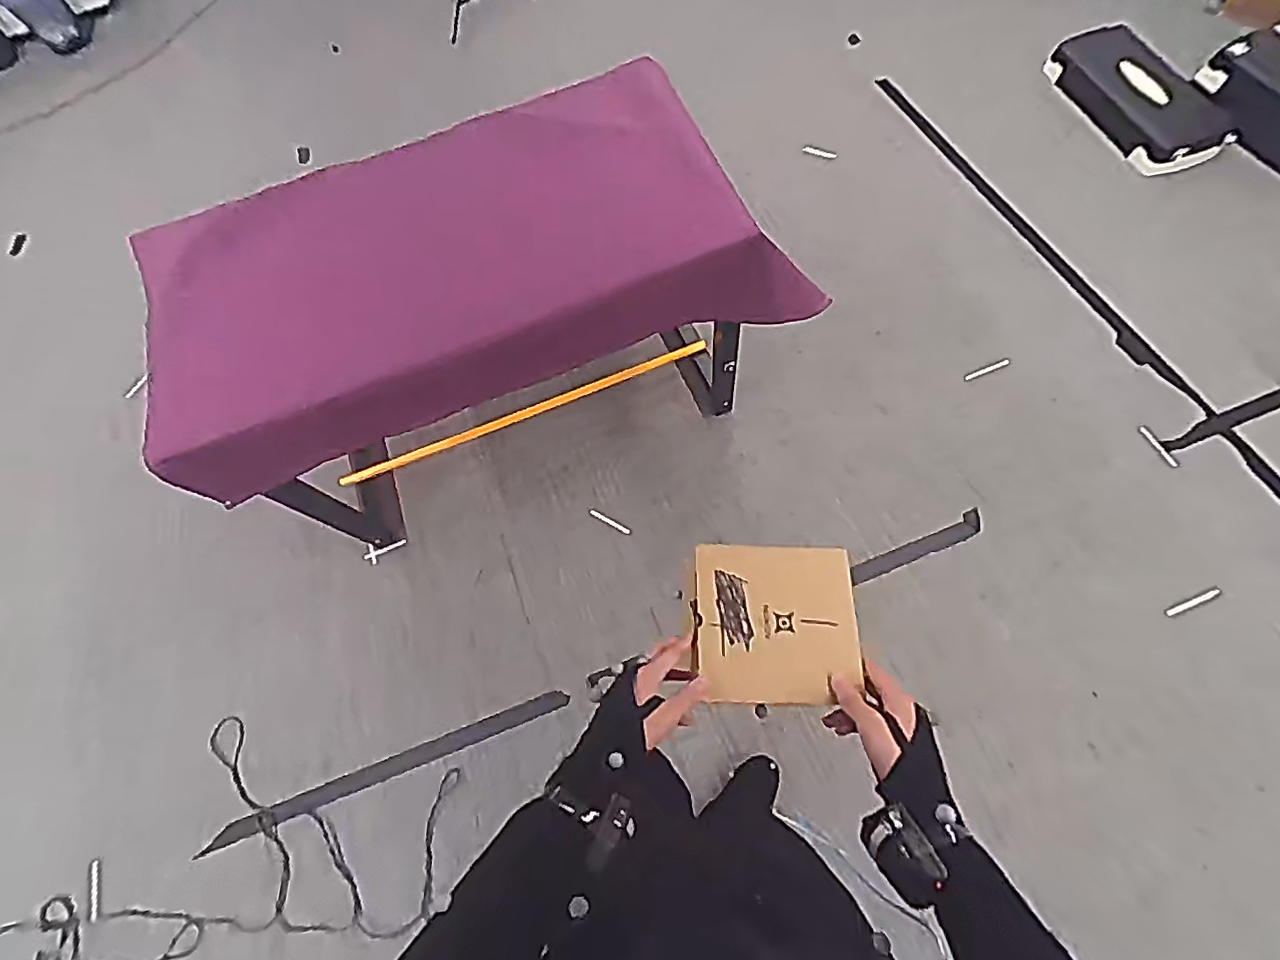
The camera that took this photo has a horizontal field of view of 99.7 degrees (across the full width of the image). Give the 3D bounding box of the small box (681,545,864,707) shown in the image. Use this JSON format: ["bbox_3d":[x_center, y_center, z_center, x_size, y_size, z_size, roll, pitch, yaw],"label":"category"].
[{"bbox_3d":[0.141,0.181,0.648,0.179,0.176,0.168,2,68,-1],"label":"small box"}]
